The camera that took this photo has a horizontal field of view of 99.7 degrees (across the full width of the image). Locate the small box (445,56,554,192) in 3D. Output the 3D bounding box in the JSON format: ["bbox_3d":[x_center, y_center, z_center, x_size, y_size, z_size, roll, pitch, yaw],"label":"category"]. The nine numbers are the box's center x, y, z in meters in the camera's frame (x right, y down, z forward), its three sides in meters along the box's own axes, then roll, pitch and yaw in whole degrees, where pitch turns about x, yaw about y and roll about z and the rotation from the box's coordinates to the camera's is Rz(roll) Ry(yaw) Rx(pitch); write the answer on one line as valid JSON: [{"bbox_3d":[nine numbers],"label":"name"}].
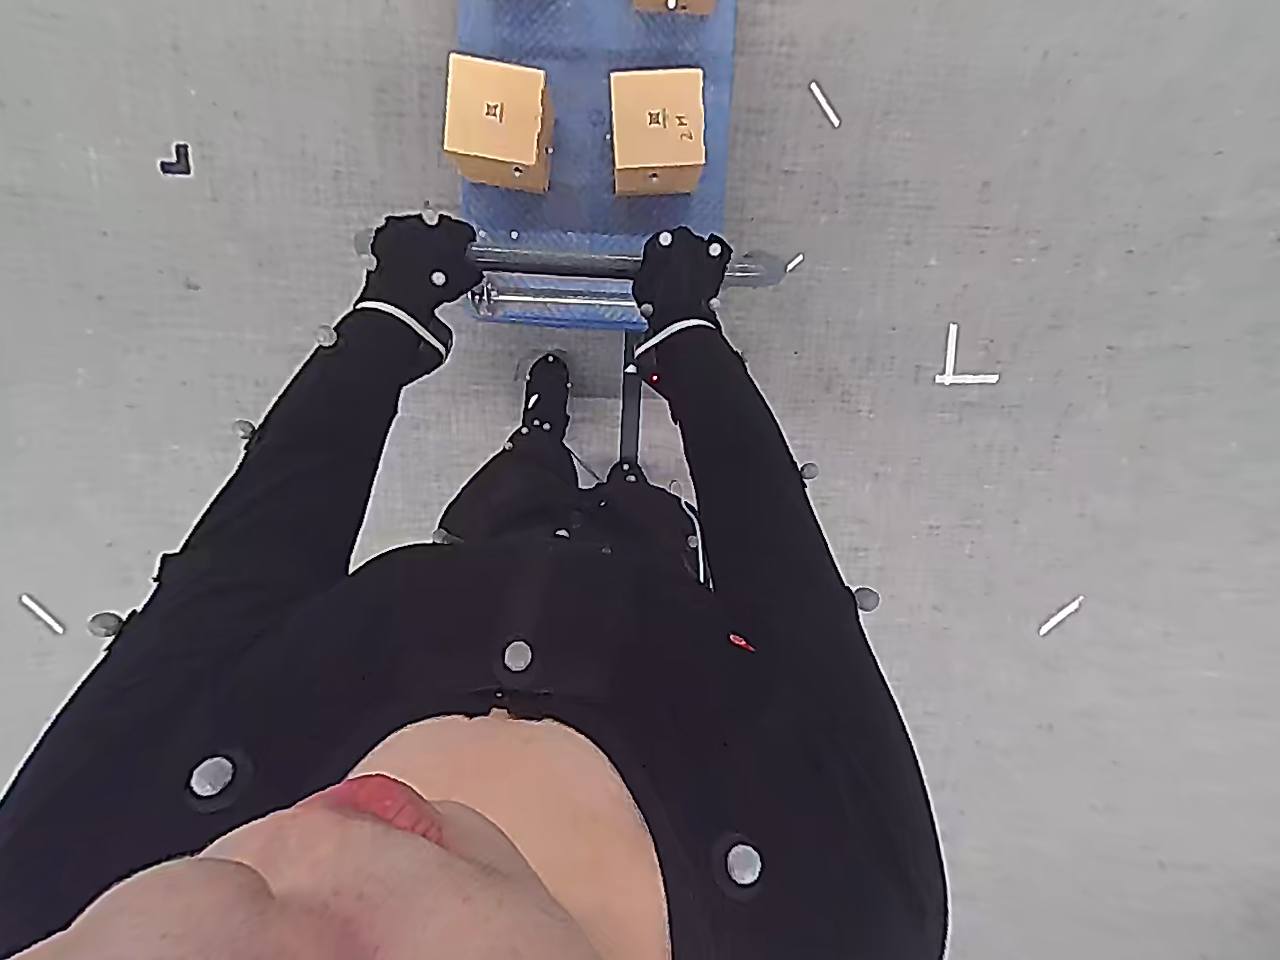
[{"bbox_3d":[-0.275,-0.703,1.089,0.179,0.176,0.168,7,101,-5],"label":"small box"}]

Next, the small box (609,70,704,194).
[{"bbox_3d":[0.032,-0.697,1.102,0.179,0.176,0.168,-3,102,-1],"label":"small box"}]

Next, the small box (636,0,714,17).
[{"bbox_3d":[0.075,-1.043,1.032,0.168,0.176,0.179,2,103,-3],"label":"small box"}]
